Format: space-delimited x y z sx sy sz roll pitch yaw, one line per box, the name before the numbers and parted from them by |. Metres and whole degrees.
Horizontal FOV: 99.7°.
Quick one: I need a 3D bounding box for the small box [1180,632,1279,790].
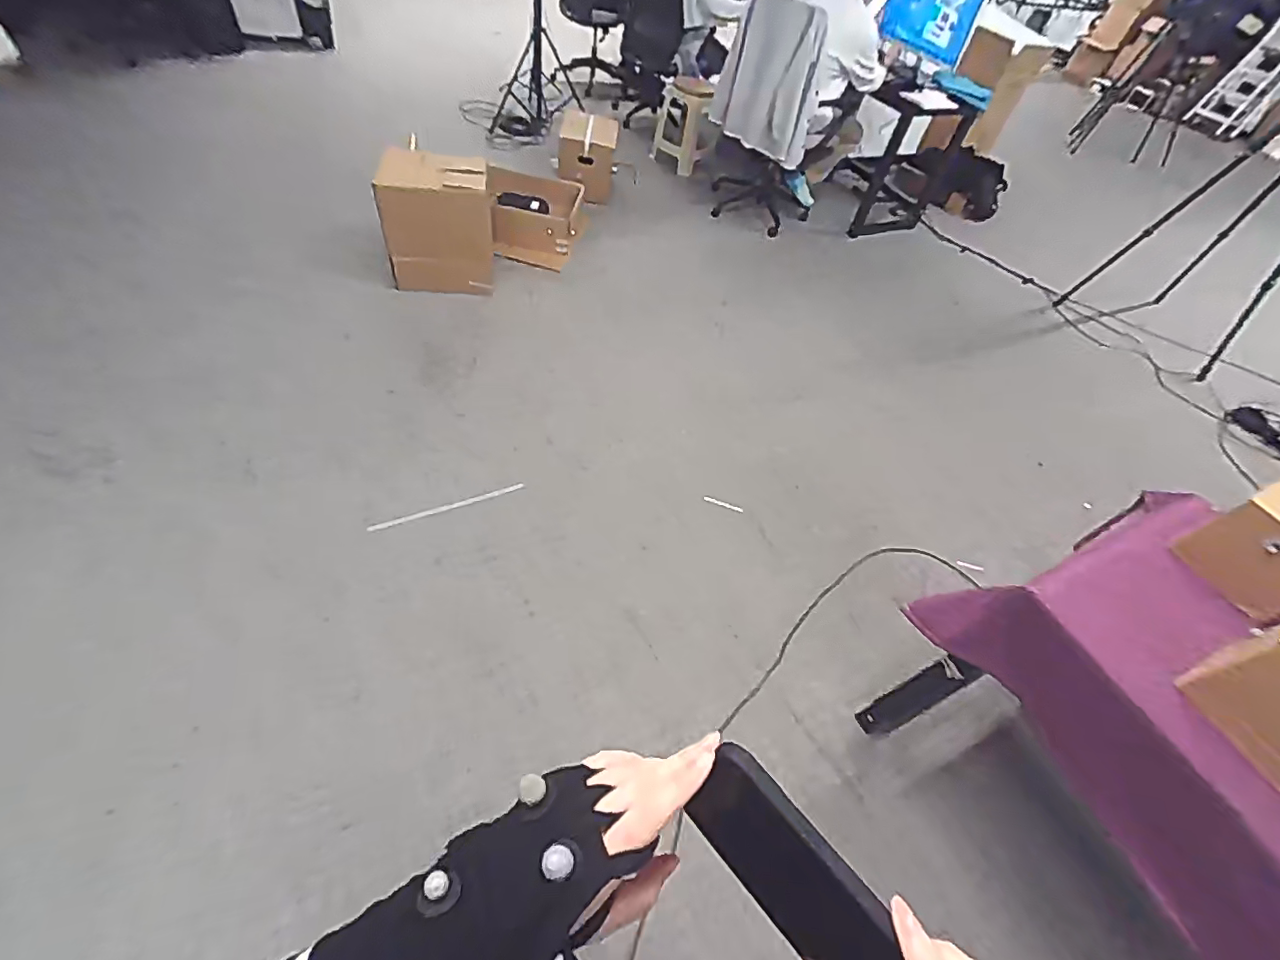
small box | 0.970 0.327 0.787 0.168 0.176 0.179 -14 56 -22
